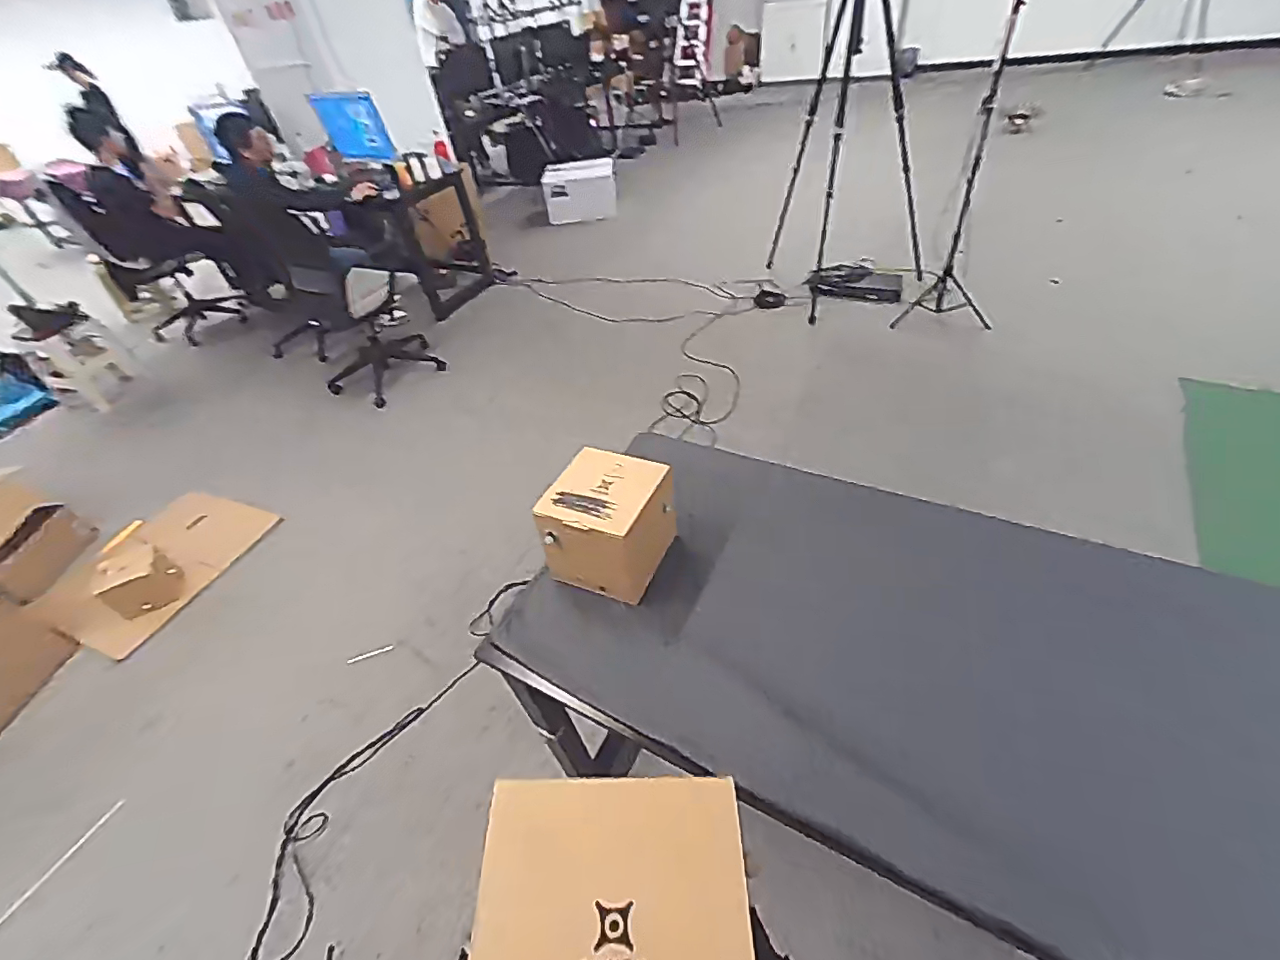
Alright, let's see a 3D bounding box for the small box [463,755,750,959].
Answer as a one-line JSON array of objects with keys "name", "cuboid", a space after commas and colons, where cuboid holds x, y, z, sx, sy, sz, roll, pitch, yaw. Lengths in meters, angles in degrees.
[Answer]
[{"name": "small box", "cuboid": [-0.020, 0.311, 0.378, 0.168, 0.176, 0.179, 0, 49, 0]}]
